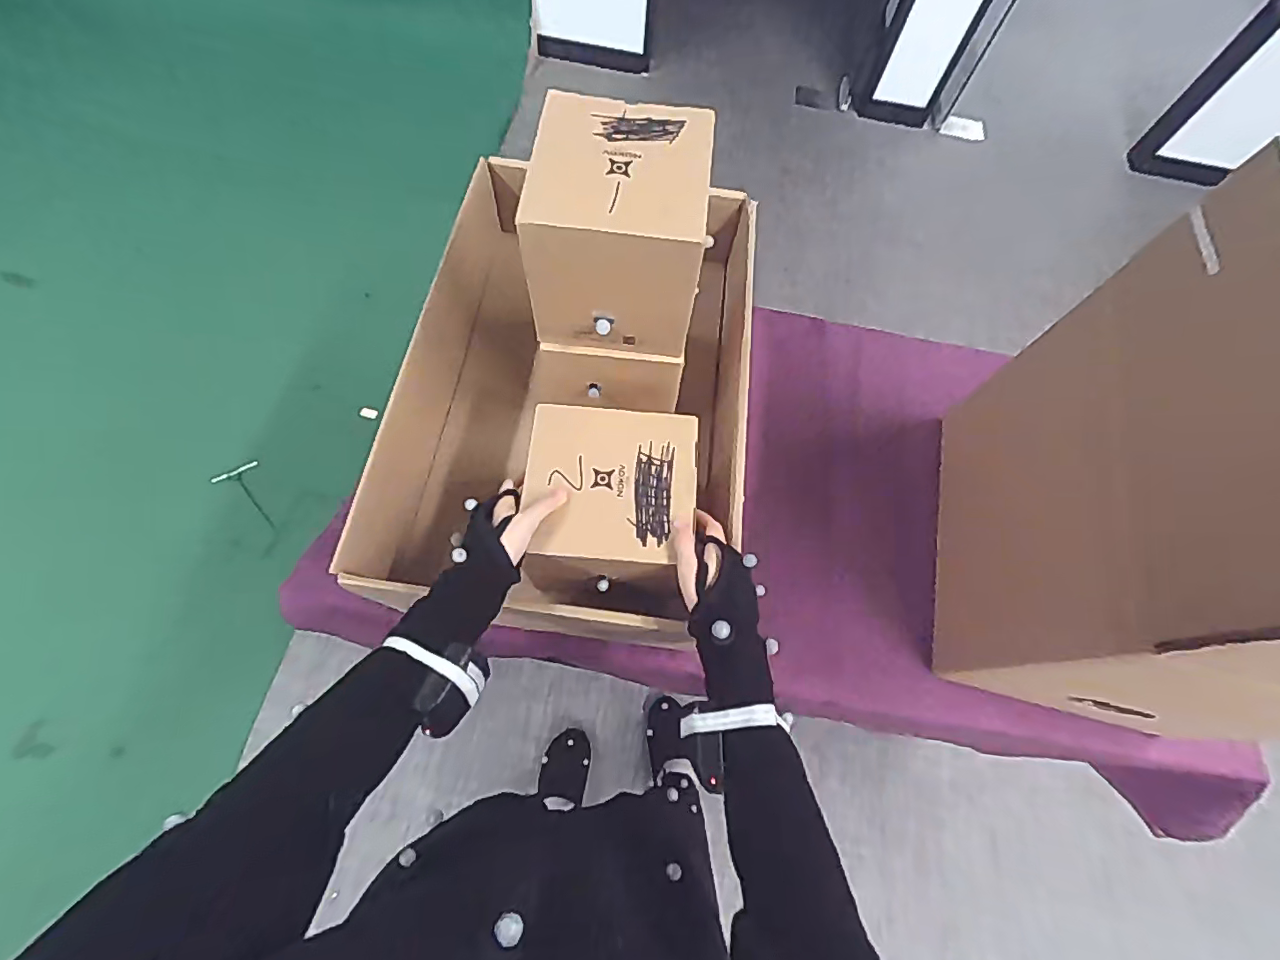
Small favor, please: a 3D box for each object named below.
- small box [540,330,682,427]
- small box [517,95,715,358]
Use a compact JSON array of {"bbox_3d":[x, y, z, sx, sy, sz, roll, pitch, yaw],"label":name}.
[{"bbox_3d":[-0.029,-0.185,0.719,0.168,0.176,0.179,5,68,-1],"label":"small box"},{"bbox_3d":[-0.021,-0.256,0.569,0.168,0.176,0.179,6,68,0],"label":"small box"}]
